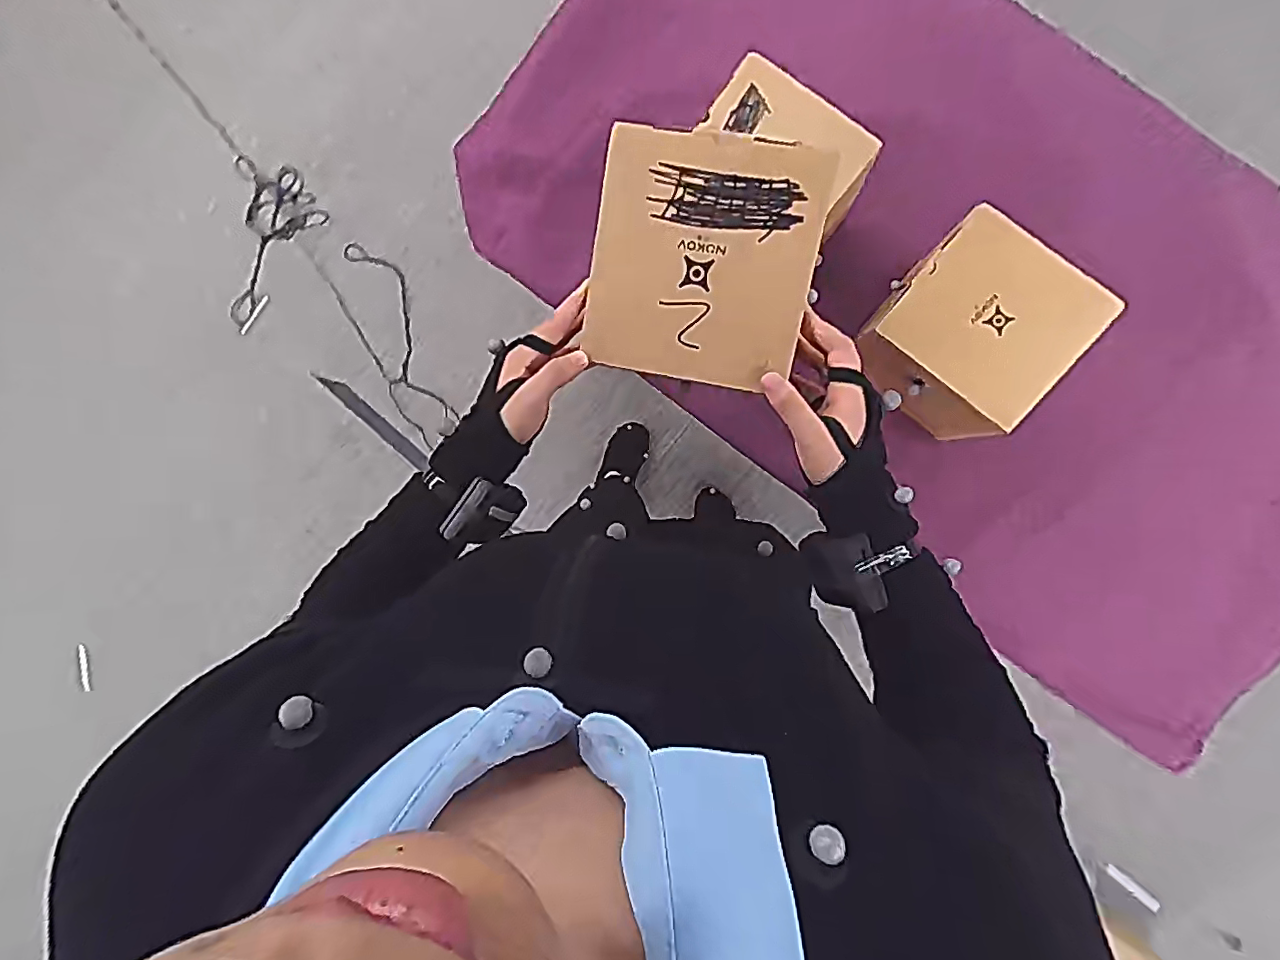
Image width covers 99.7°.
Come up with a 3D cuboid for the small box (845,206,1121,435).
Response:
[{"bbox_3d":[0.372,-0.166,0.628,0.179,0.176,0.168,40,97,7],"label":"small box"}]

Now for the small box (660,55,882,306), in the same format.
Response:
[{"bbox_3d":[0.147,-0.340,0.655,0.179,0.176,0.168,39,97,5],"label":"small box"}]
